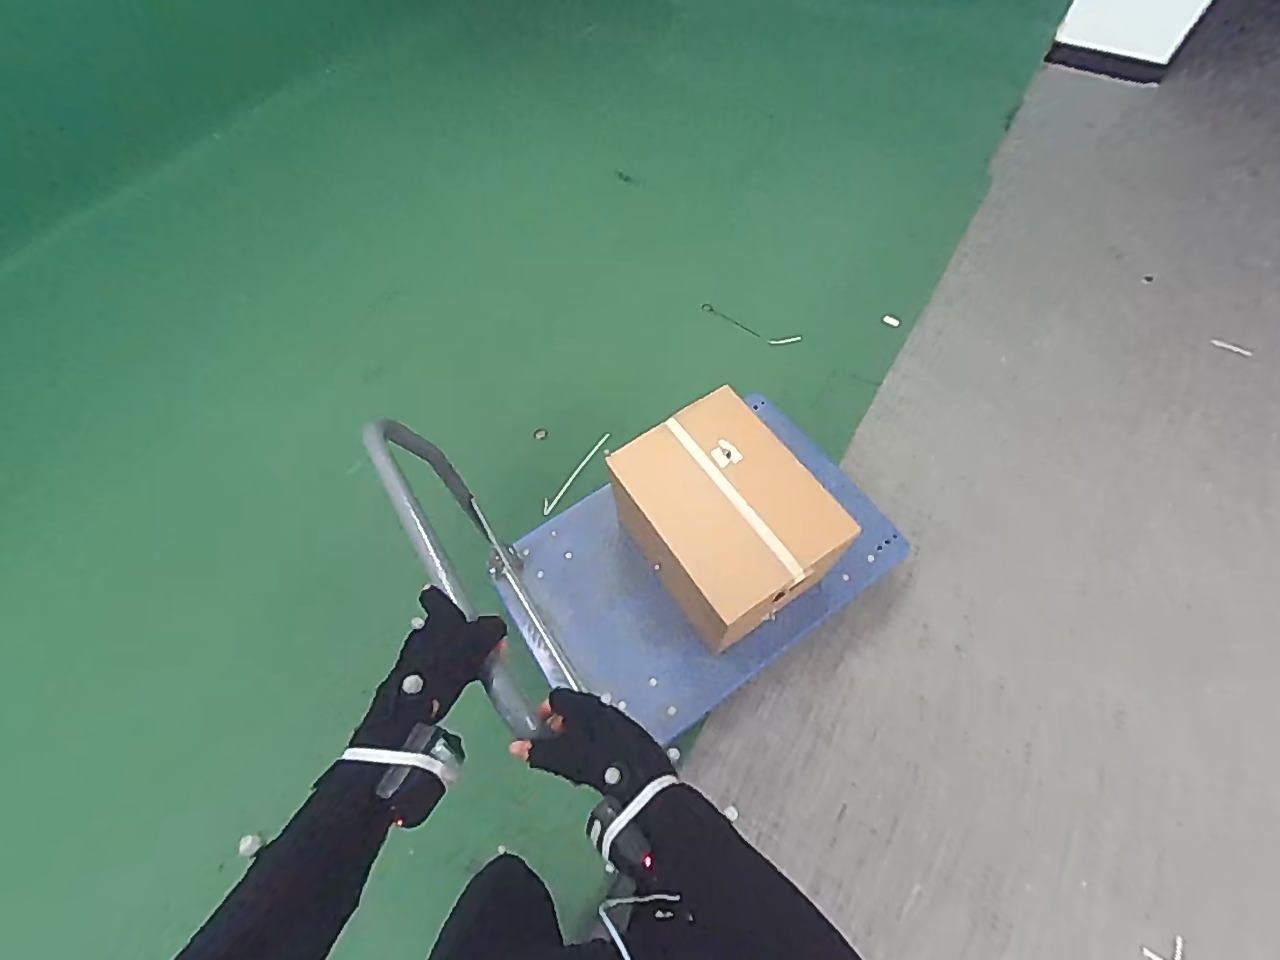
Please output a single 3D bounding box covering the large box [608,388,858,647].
[{"bbox_3d":[0.181,0.088,1.178,0.320,0.320,0.408,-32,65,-13],"label":"large box"}]
